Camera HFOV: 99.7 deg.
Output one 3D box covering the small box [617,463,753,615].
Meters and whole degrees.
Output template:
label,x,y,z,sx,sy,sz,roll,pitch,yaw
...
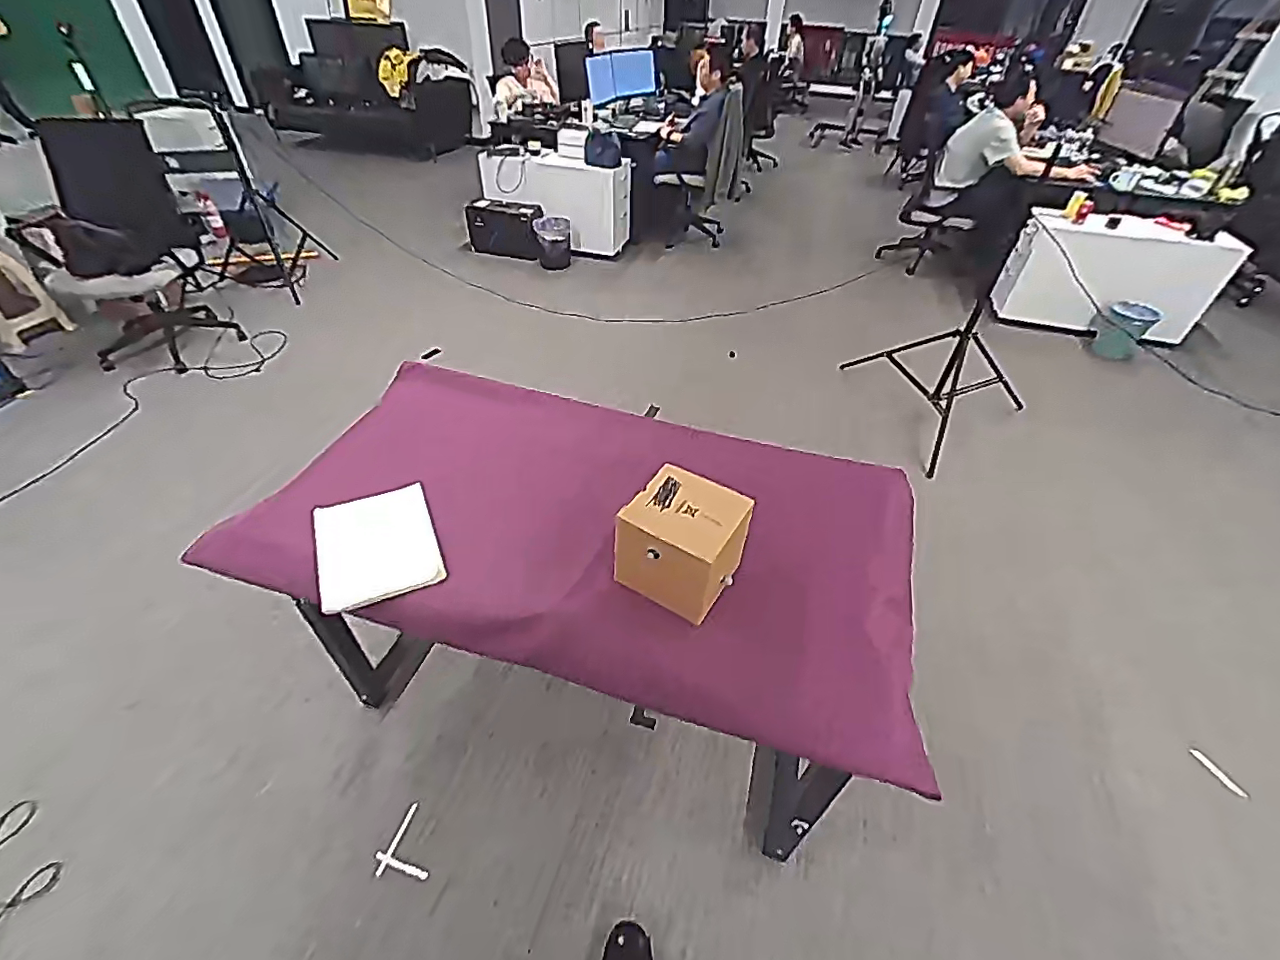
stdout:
label,x,y,z,sx,sy,sz,roll,pitch,yaw
small box,0.072,0.103,0.940,0.179,0.176,0.168,24,46,22
